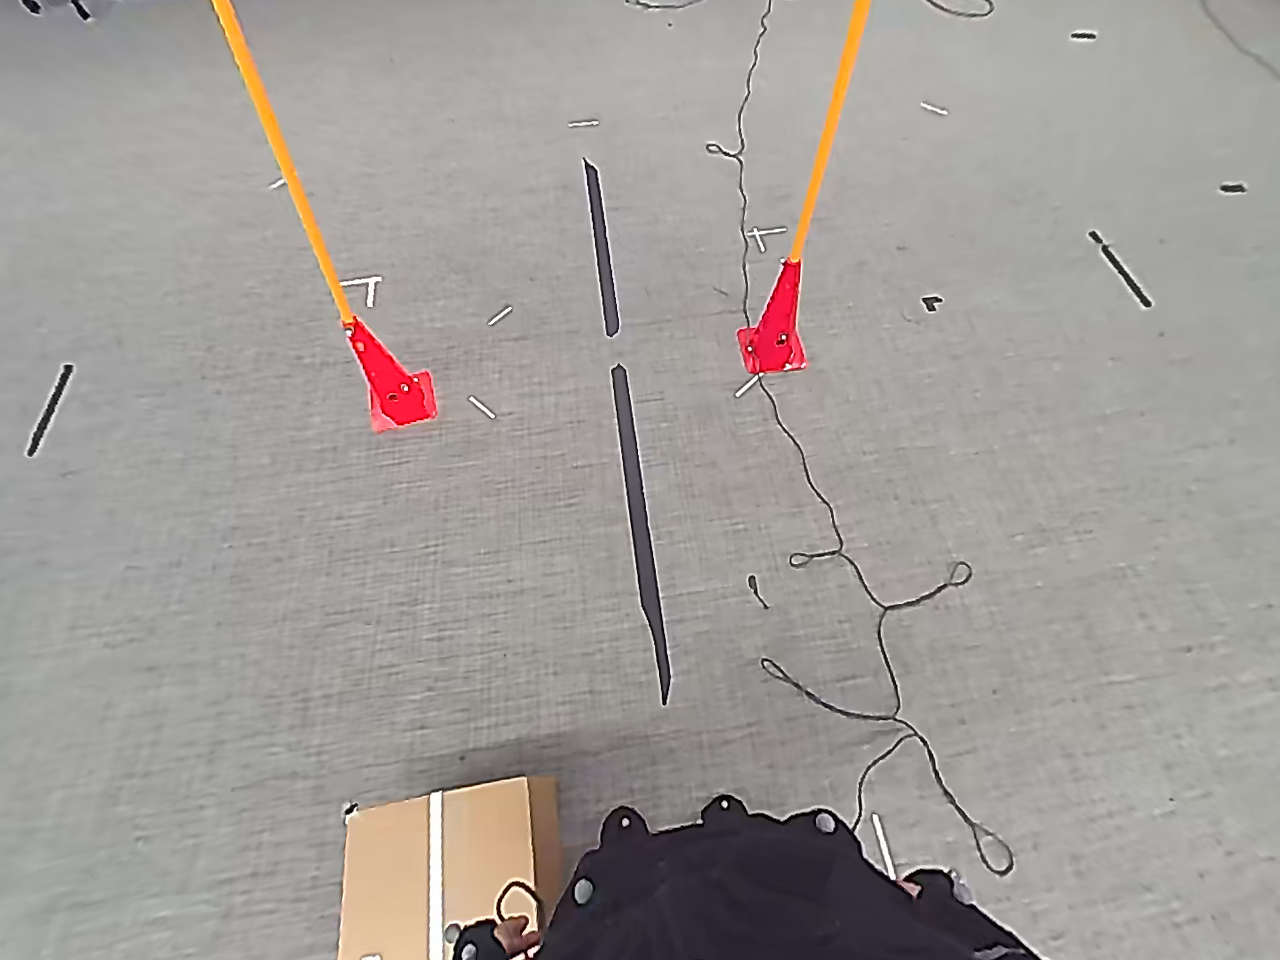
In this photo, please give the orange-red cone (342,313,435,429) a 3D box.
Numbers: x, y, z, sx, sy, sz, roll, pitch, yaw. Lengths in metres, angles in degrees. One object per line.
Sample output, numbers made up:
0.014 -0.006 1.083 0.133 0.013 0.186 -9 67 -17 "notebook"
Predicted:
-0.760 -0.339 1.568 0.199 0.360 0.198 -16 61 -6 "orange-red cone"
